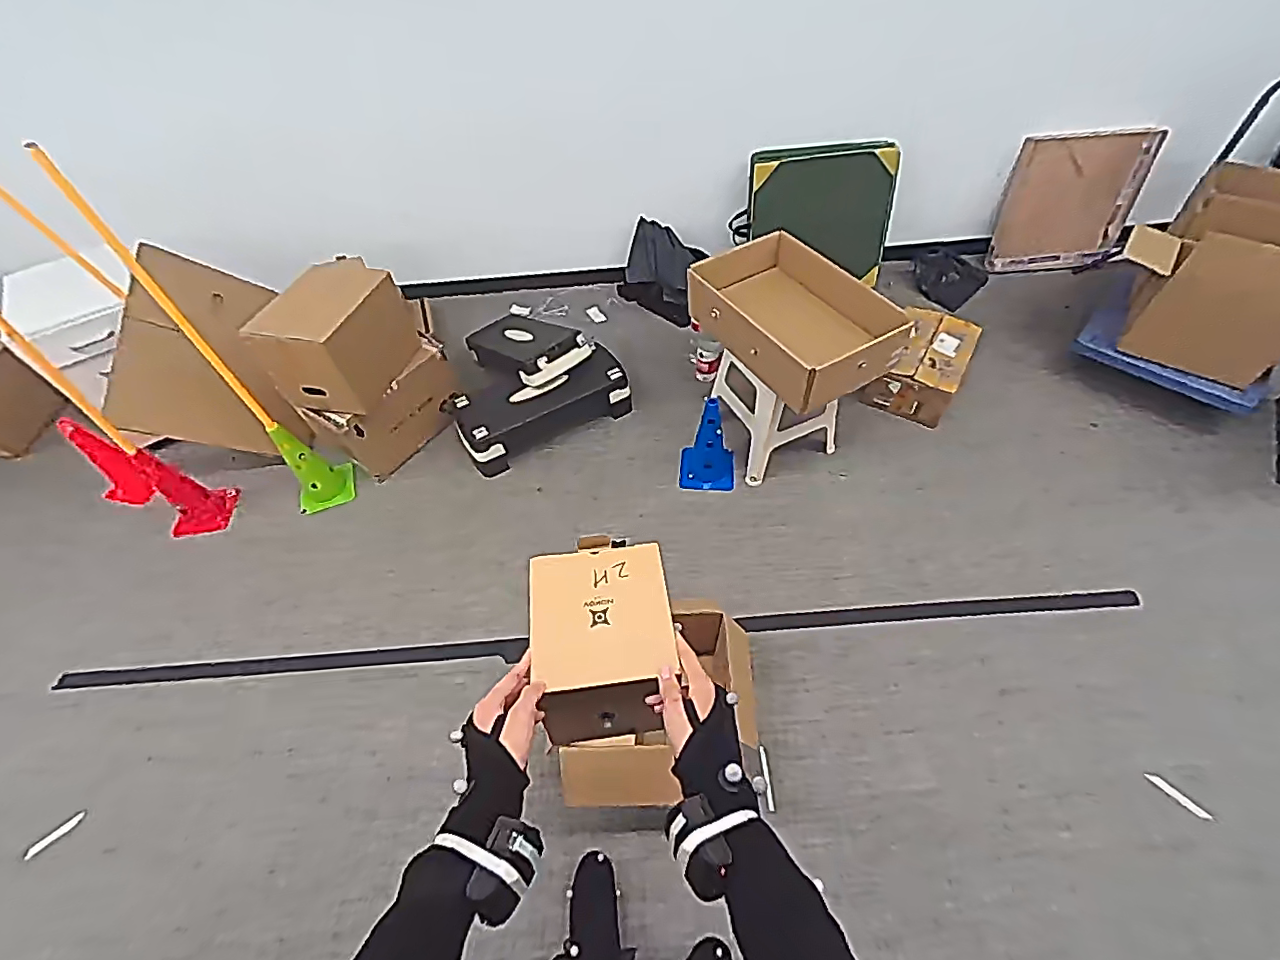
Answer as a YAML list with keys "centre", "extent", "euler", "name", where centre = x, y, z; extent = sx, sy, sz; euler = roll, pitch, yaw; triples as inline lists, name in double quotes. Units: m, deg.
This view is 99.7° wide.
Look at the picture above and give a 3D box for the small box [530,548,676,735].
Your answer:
- centre: [-0.046, 0.214, 0.703]
  extent: [0.168, 0.176, 0.179]
  euler: [-5, 46, -5]
  name: "small box"
